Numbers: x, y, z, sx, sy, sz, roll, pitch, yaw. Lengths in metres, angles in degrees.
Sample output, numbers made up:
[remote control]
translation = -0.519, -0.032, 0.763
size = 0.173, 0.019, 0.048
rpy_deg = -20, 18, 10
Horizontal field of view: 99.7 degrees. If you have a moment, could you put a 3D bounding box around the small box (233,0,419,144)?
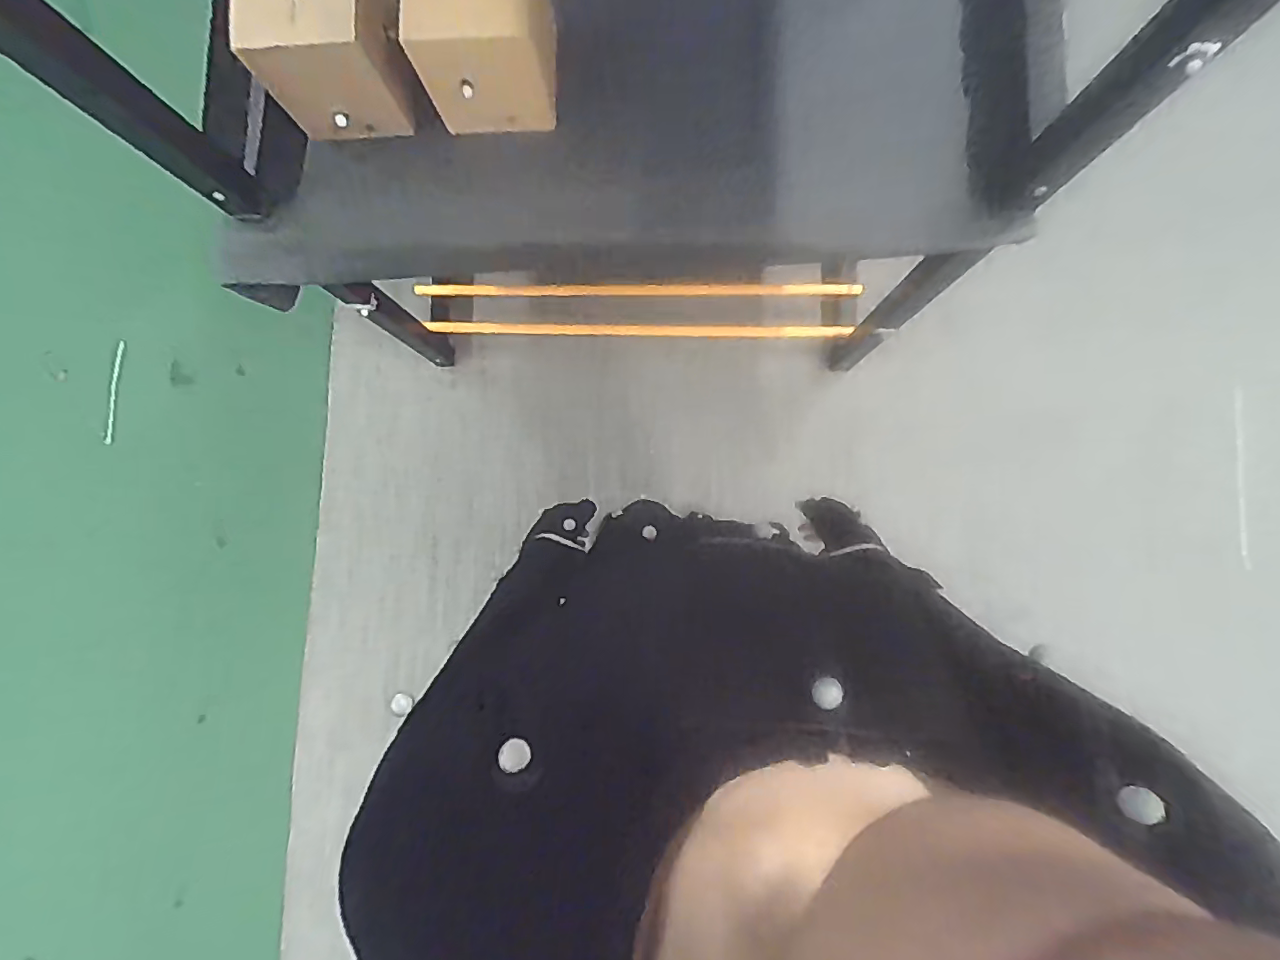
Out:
[small box]
translation = -0.431, -0.618, 0.769
size = 0.168, 0.176, 0.179
rpy_deg = -1, 85, 3
